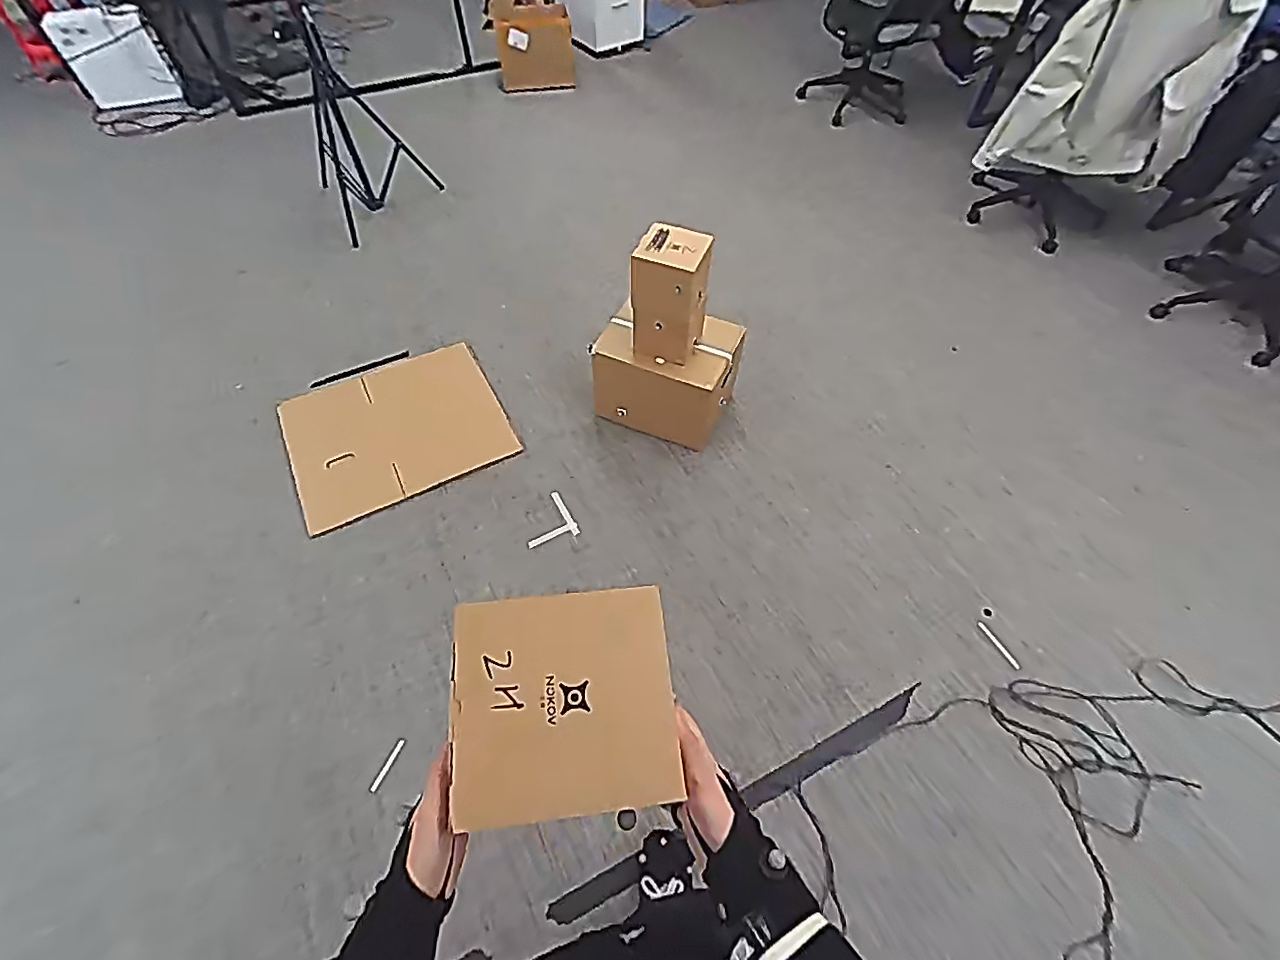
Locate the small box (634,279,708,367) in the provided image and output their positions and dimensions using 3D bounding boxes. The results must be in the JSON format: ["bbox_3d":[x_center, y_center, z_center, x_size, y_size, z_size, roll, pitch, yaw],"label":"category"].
[{"bbox_3d":[0.090,-0.467,1.622,0.179,0.176,0.168,19,59,11],"label":"small box"}]

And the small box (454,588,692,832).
[{"bbox_3d":[-0.061,0.205,0.498,0.179,0.176,0.168,-4,65,-6],"label":"small box"}]
